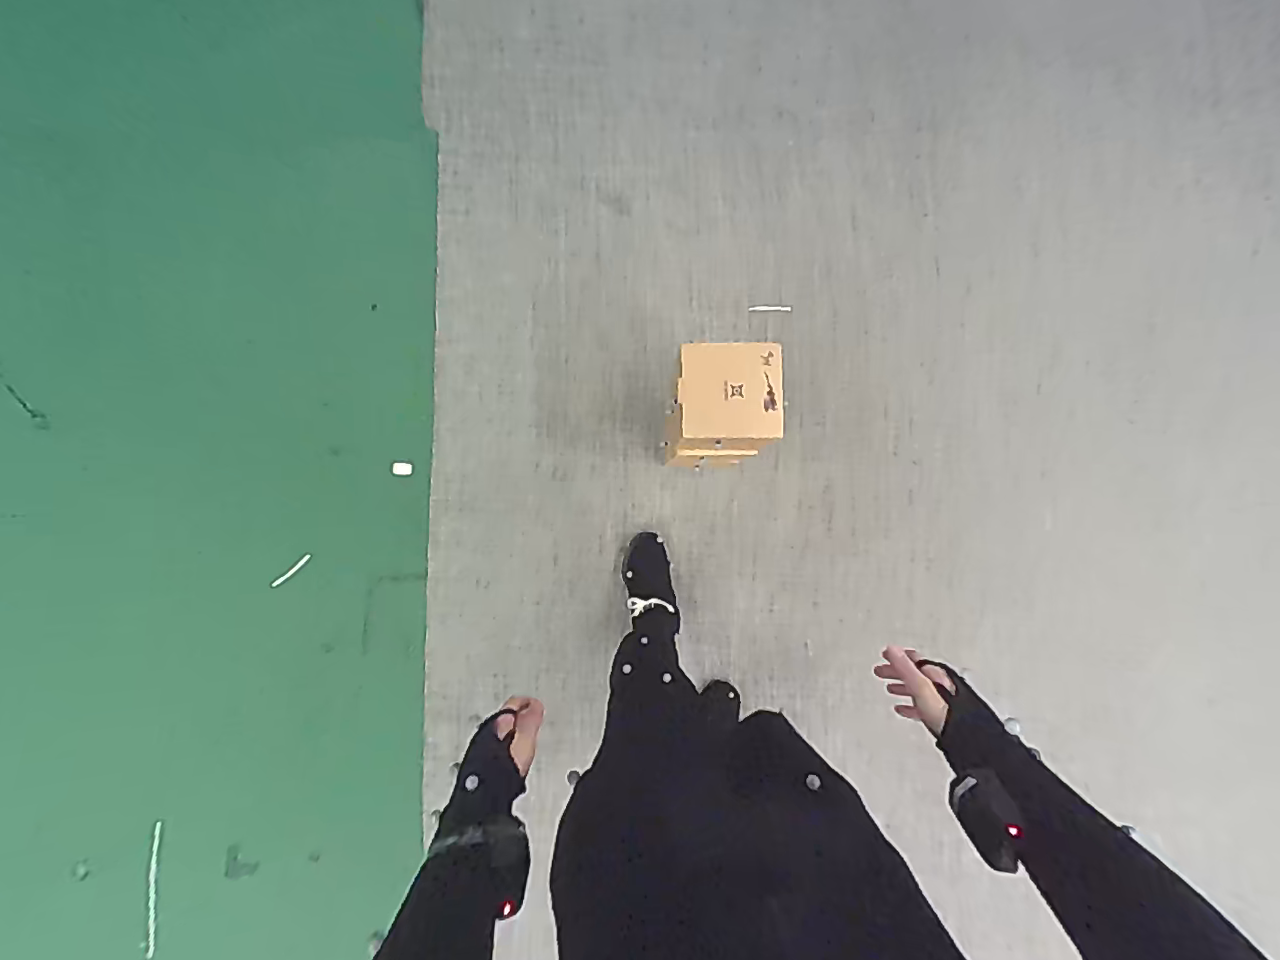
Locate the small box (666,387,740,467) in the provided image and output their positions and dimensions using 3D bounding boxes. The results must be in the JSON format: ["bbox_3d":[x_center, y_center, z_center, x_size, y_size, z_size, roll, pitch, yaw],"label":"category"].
[{"bbox_3d":[0.152,-0.125,1.324,0.168,0.176,0.179,1,86,-1],"label":"small box"}]

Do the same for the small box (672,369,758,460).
[{"bbox_3d":[0.156,-0.135,1.162,0.168,0.176,0.179,-1,86,0],"label":"small box"}]

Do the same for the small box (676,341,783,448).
[{"bbox_3d":[0.157,-0.150,0.998,0.179,0.176,0.168,0,87,1],"label":"small box"}]
